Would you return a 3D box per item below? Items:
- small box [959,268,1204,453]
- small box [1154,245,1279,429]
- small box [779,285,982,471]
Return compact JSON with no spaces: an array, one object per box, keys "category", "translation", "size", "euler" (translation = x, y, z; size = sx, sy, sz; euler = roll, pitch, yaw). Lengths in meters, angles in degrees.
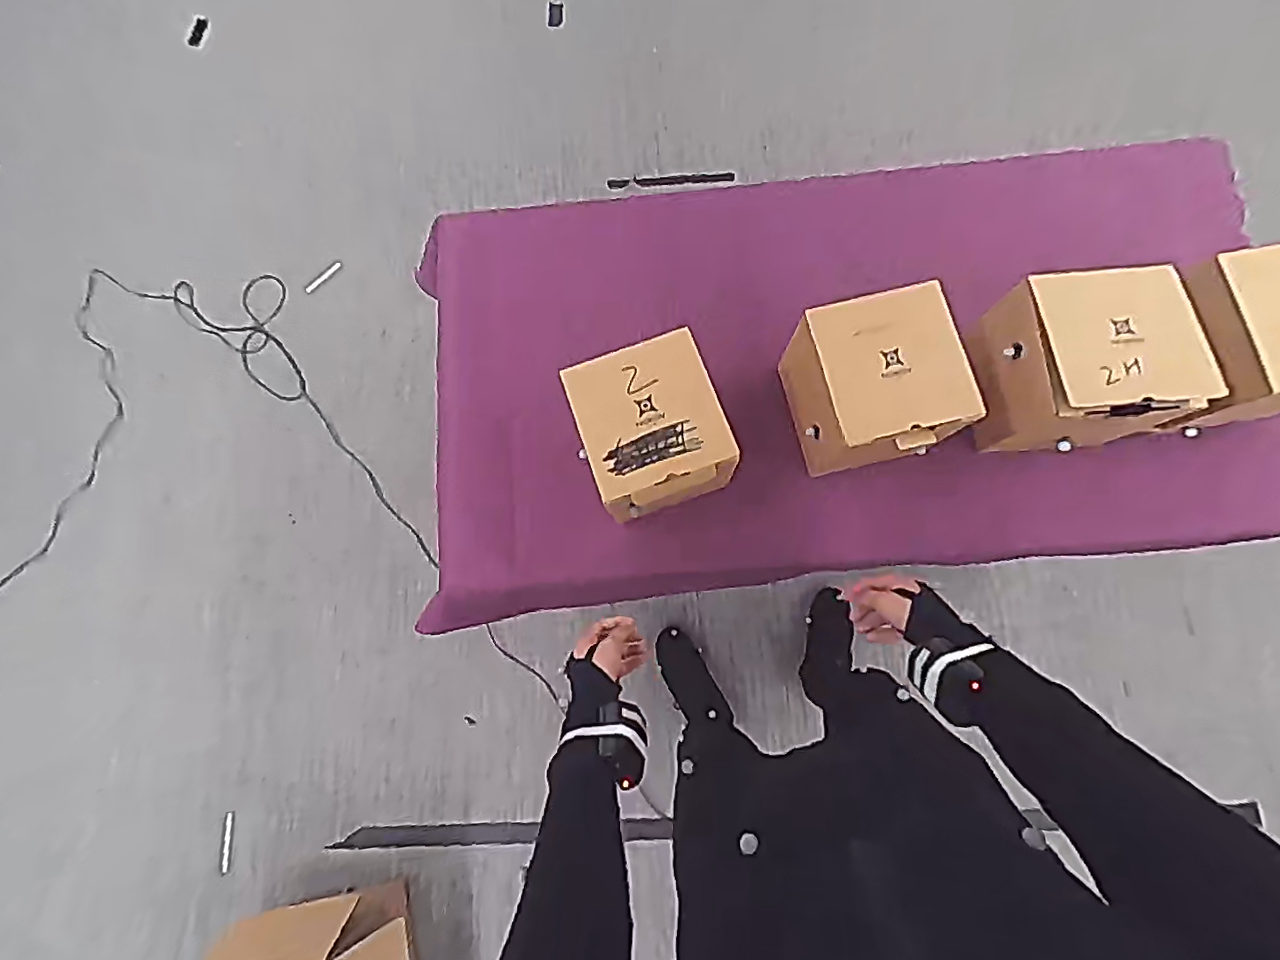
[{"category":"small box","translation":[0.540,-0.143,0.693],"size":[0.168,0.176,0.179],"euler":[-3,78,3]},{"category":"small box","translation":[0.758,-0.173,0.686],"size":[0.168,0.176,0.179],"euler":[-9,77,2]},{"category":"small box","translation":[0.294,-0.118,0.704],"size":[0.168,0.176,0.179],"euler":[-13,78,0]}]
